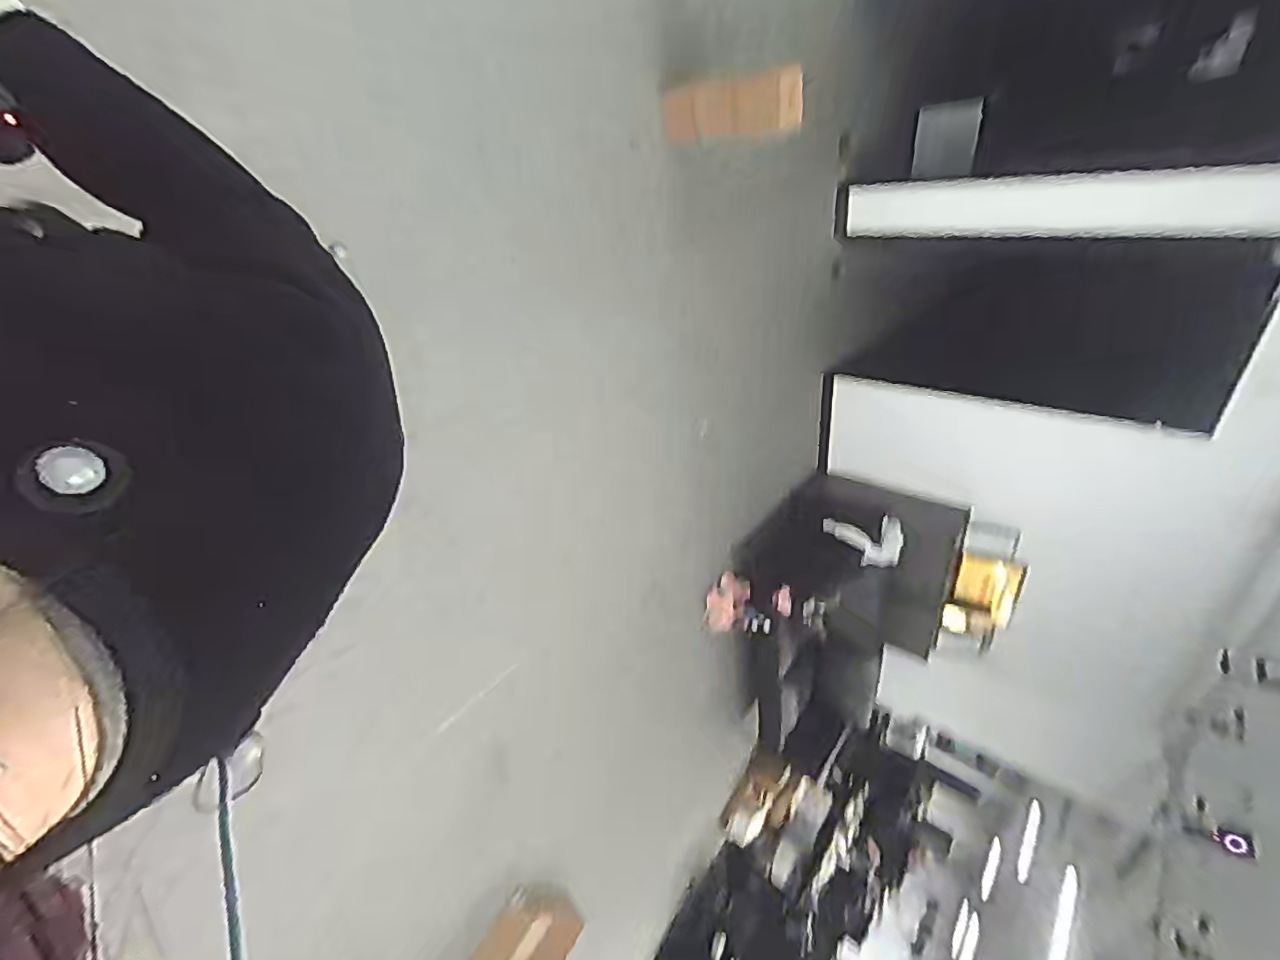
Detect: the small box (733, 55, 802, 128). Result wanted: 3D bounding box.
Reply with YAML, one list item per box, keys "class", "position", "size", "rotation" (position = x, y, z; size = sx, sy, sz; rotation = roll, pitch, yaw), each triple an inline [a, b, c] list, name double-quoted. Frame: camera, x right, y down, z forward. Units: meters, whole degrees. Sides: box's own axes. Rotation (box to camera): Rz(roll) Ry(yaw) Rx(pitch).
- class: "small box"
  position: [0.430, -1.309, 1.827]
  size: [0.168, 0.176, 0.179]
  rotation: [-42, 134, -34]
